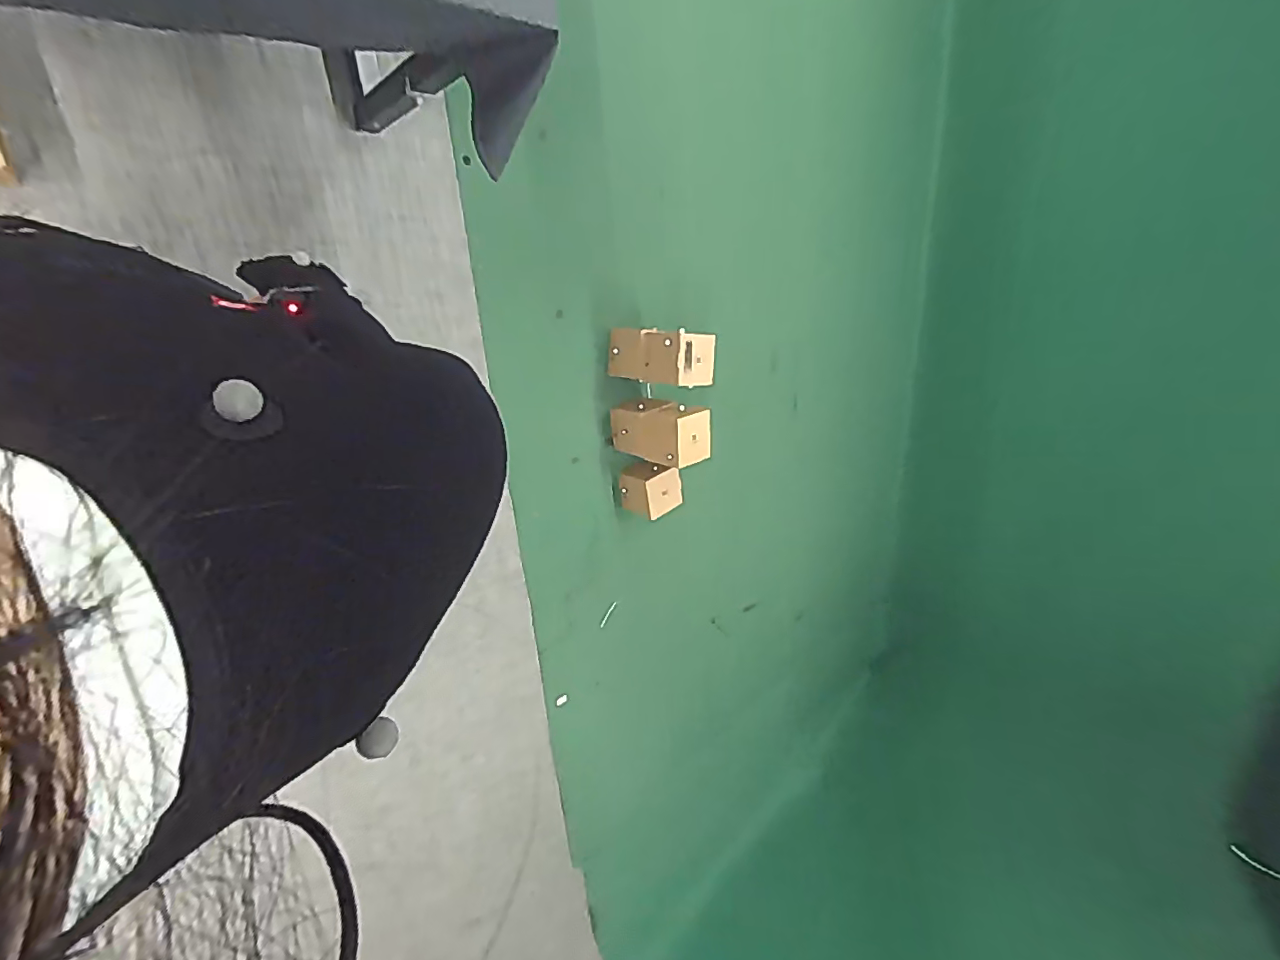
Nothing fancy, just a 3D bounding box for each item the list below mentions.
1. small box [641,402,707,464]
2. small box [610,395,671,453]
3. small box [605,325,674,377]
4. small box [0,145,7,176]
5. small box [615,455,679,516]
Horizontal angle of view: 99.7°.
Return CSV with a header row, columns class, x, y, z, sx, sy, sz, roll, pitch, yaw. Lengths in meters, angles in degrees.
class,x,y,z,sx,sy,sz,roll,pitch,yaw
small box,0.118,-0.171,1.890,0.168,0.176,0.179,-22,118,-39
small box,0.002,-0.212,1.996,0.179,0.176,0.168,-25,119,-38
small box,-0.003,-0.457,1.915,0.179,0.176,0.168,-9,108,-42
small box,-1.086,-0.561,0.793,0.168,0.176,0.179,-17,115,-40
small box,0.027,0.014,2.095,0.179,0.176,0.168,-28,121,-36
